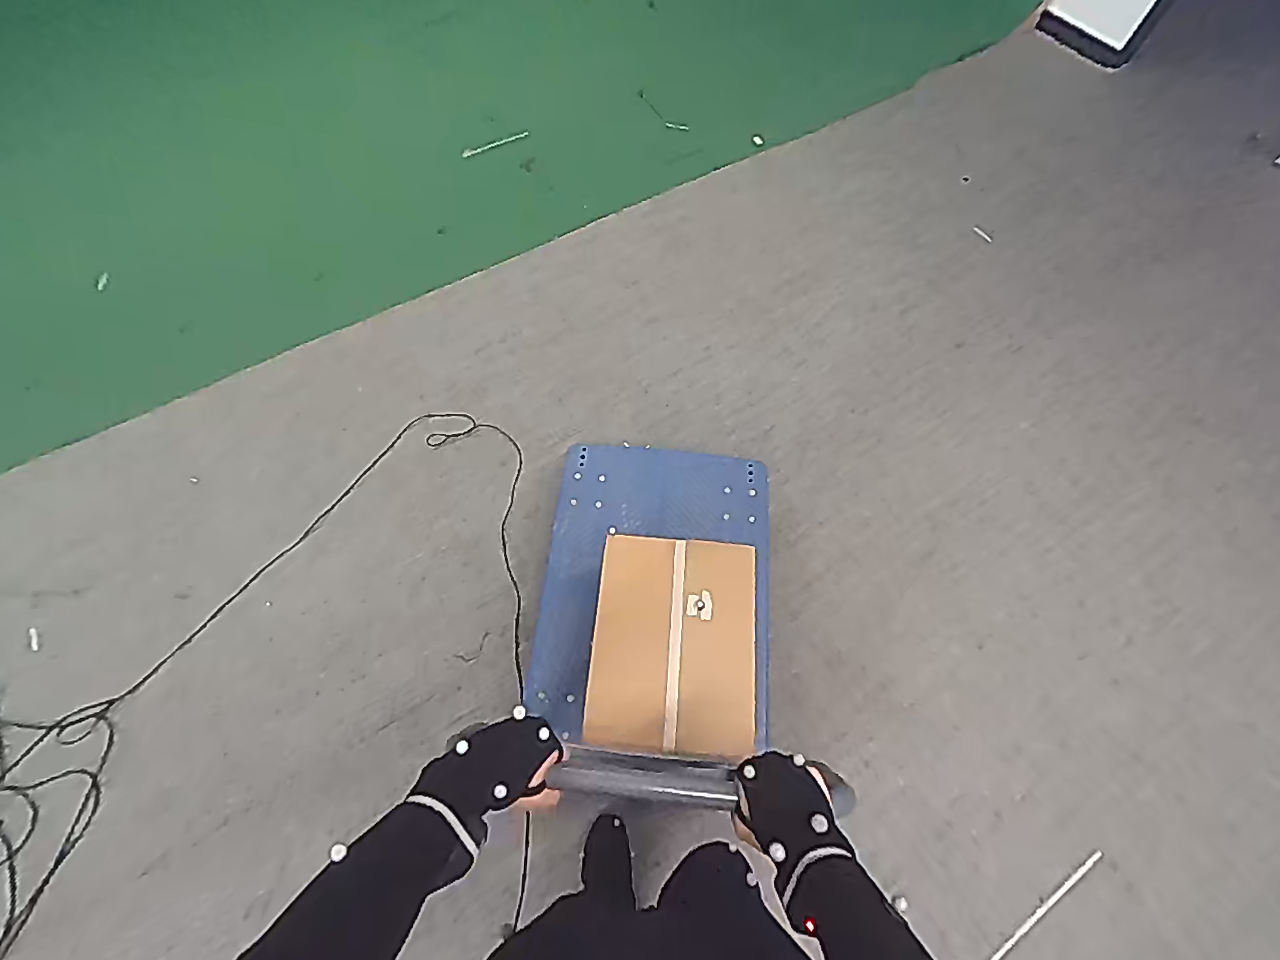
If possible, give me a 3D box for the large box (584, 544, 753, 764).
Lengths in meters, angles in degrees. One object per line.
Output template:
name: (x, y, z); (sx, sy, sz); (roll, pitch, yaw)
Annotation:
large box: (0.065, 0.393, 1.196); (0.320, 0.320, 0.408); (5, 63, 1)
